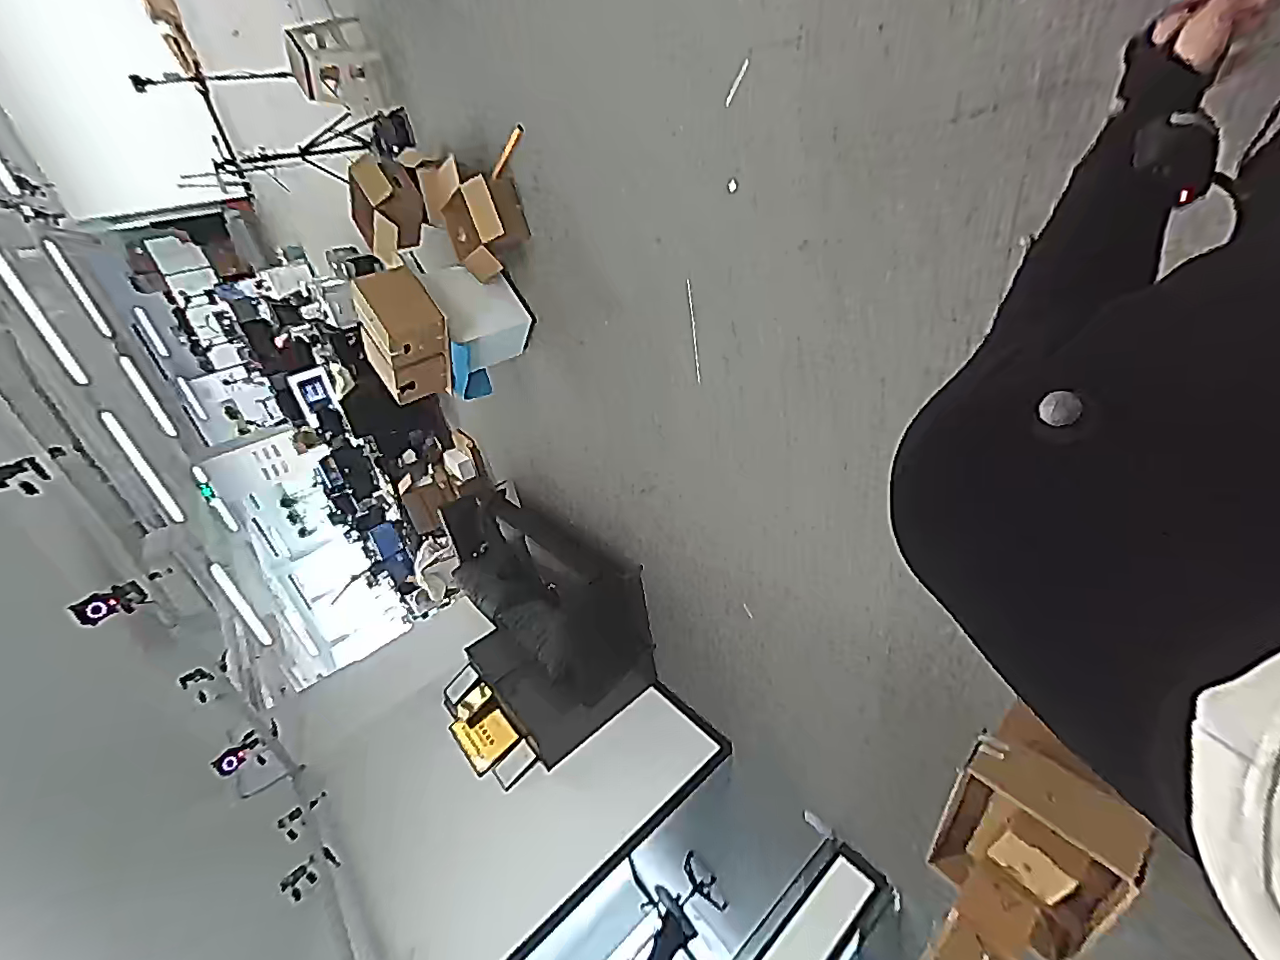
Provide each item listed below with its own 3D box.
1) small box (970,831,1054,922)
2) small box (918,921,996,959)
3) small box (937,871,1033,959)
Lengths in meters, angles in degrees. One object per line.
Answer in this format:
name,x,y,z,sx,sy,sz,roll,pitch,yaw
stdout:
small box,1.095,1.204,1.610,0.168,0.176,0.179,28,135,43
small box,0.849,1.336,1.441,0.168,0.176,0.179,37,139,37
small box,0.971,1.266,1.526,0.168,0.176,0.179,28,134,44
